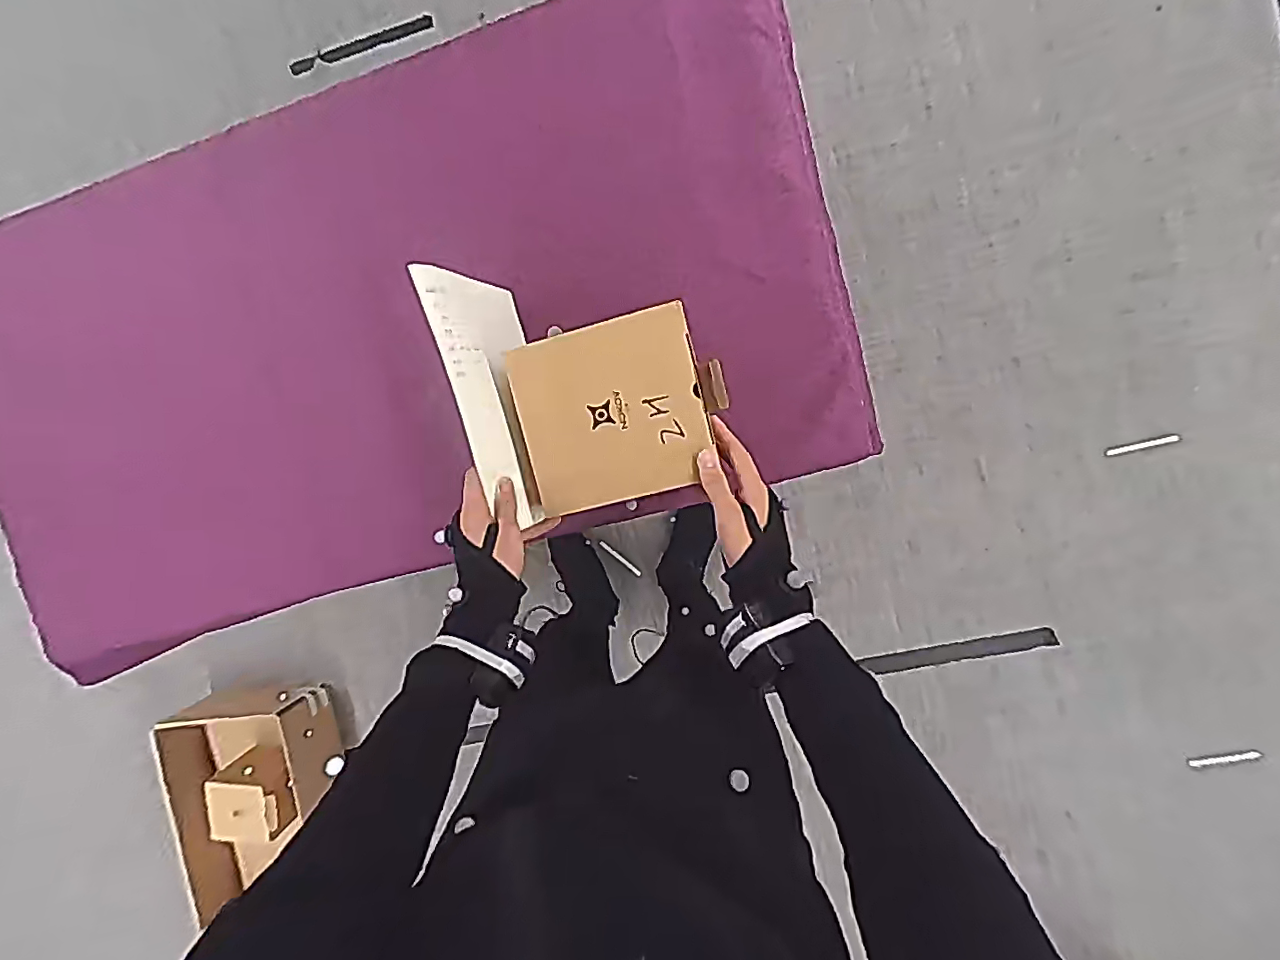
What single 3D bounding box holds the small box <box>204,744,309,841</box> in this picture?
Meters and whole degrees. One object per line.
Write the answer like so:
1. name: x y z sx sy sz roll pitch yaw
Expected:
1. small box: -1.046 0.854 1.492 0.179 0.176 0.168 0 96 7
